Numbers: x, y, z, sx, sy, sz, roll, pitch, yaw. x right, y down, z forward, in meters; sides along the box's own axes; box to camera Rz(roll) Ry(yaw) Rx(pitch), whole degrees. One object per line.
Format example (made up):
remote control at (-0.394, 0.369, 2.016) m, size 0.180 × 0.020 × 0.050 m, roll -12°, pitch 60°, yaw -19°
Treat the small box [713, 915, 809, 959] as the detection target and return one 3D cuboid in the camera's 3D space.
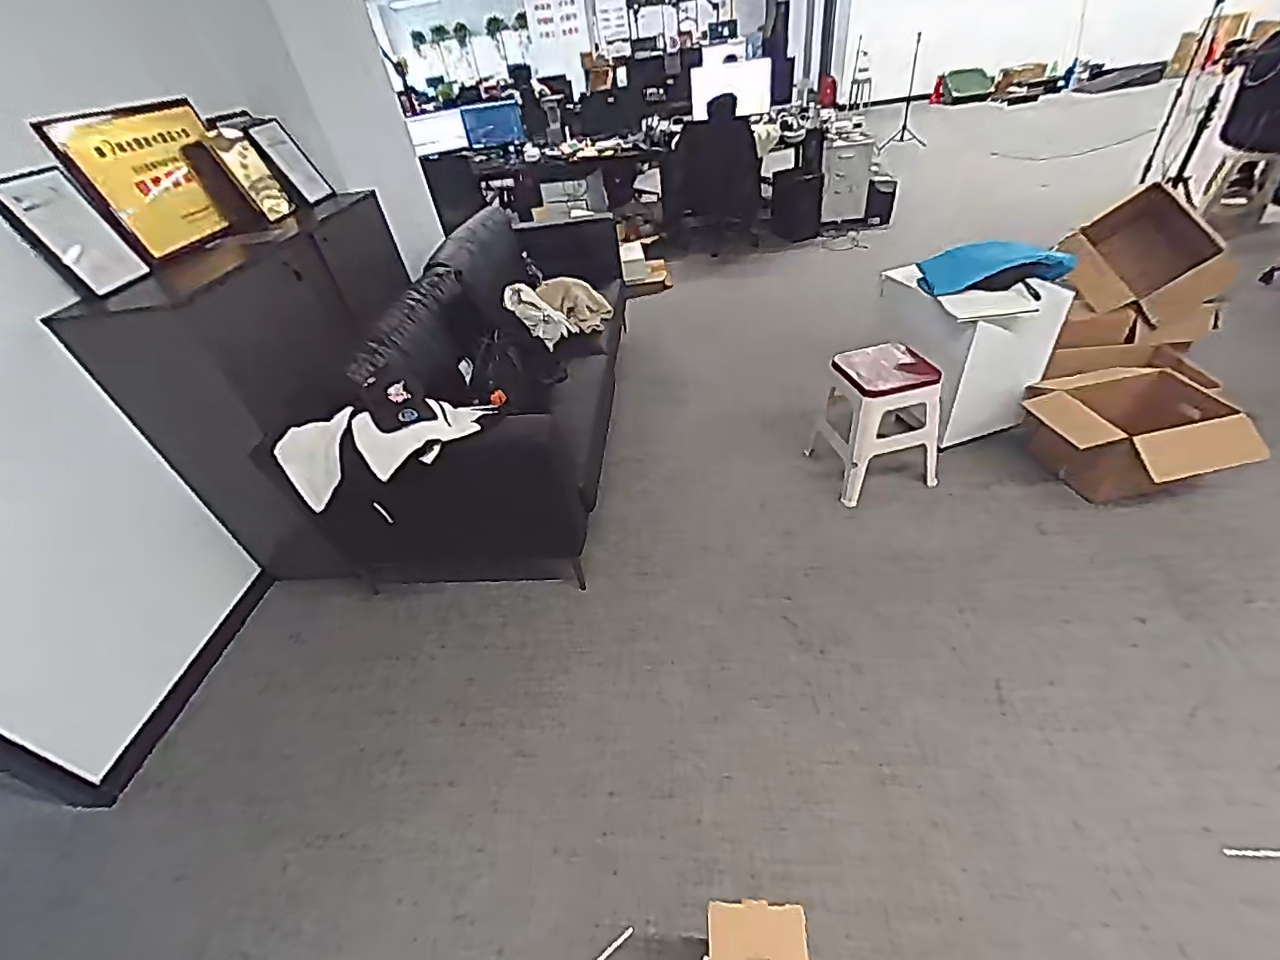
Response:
small box at (0.234, 0.962, 1.036) m, size 0.179 × 0.176 × 0.168 m, roll -3°, pitch 40°, yaw 8°
